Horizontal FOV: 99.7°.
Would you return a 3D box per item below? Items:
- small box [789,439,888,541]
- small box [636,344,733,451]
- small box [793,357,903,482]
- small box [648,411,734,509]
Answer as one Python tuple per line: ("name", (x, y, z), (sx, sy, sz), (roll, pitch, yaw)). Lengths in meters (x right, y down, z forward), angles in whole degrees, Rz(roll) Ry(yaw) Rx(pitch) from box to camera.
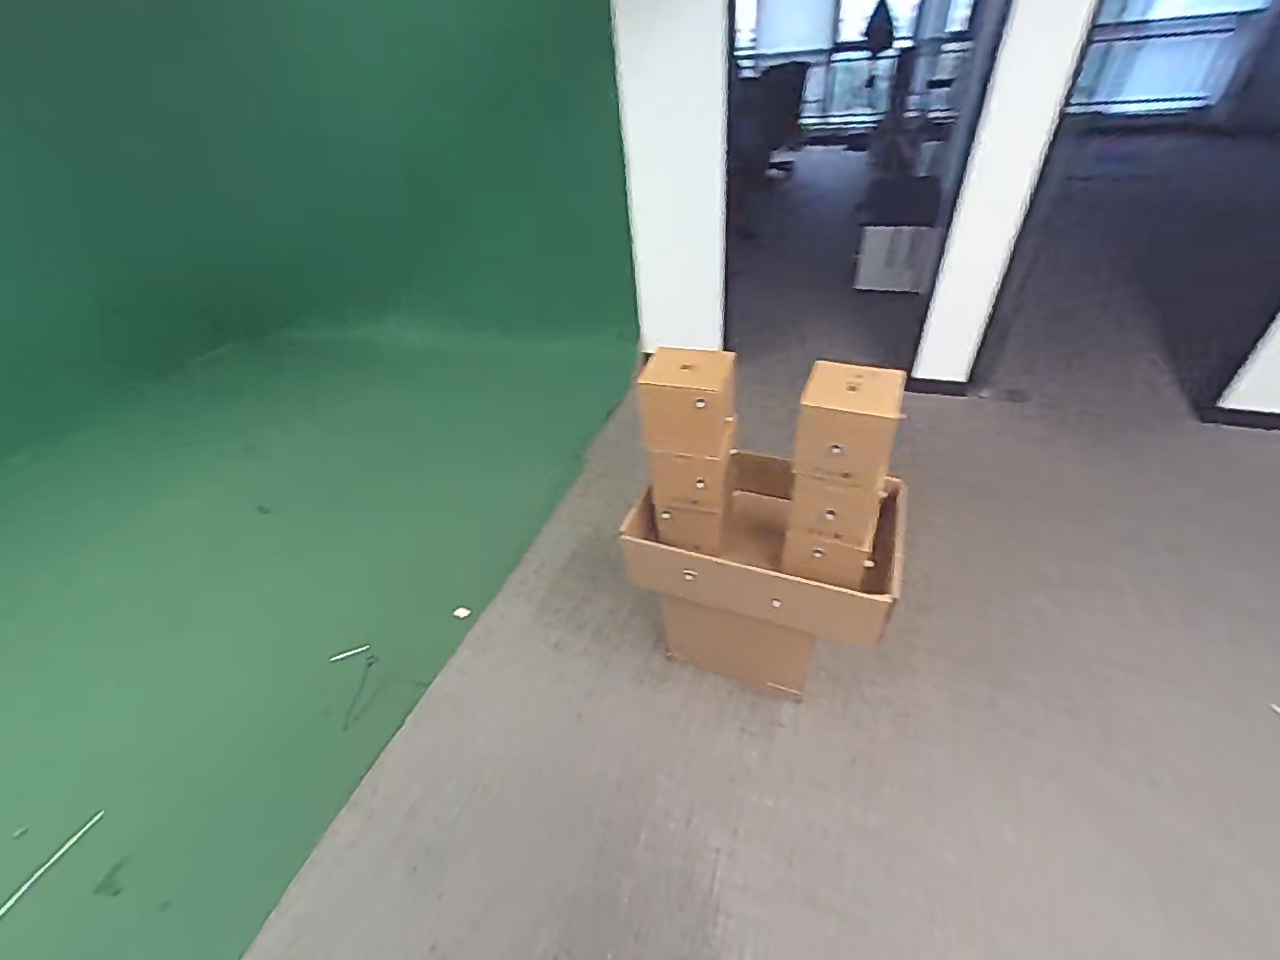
("small box", (0.426, 0.006, 1.173), (0.168, 0.176, 0.179), (13, 45, 21))
("small box", (0.101, -0.180, 1.182), (0.179, 0.176, 0.168), (8, 42, 15))
("small box", (0.405, -0.119, 1.067), (0.168, 0.176, 0.179), (14, 44, 21))
("small box", (0.127, -0.054, 1.283), (0.168, 0.176, 0.179), (9, 42, 16))
